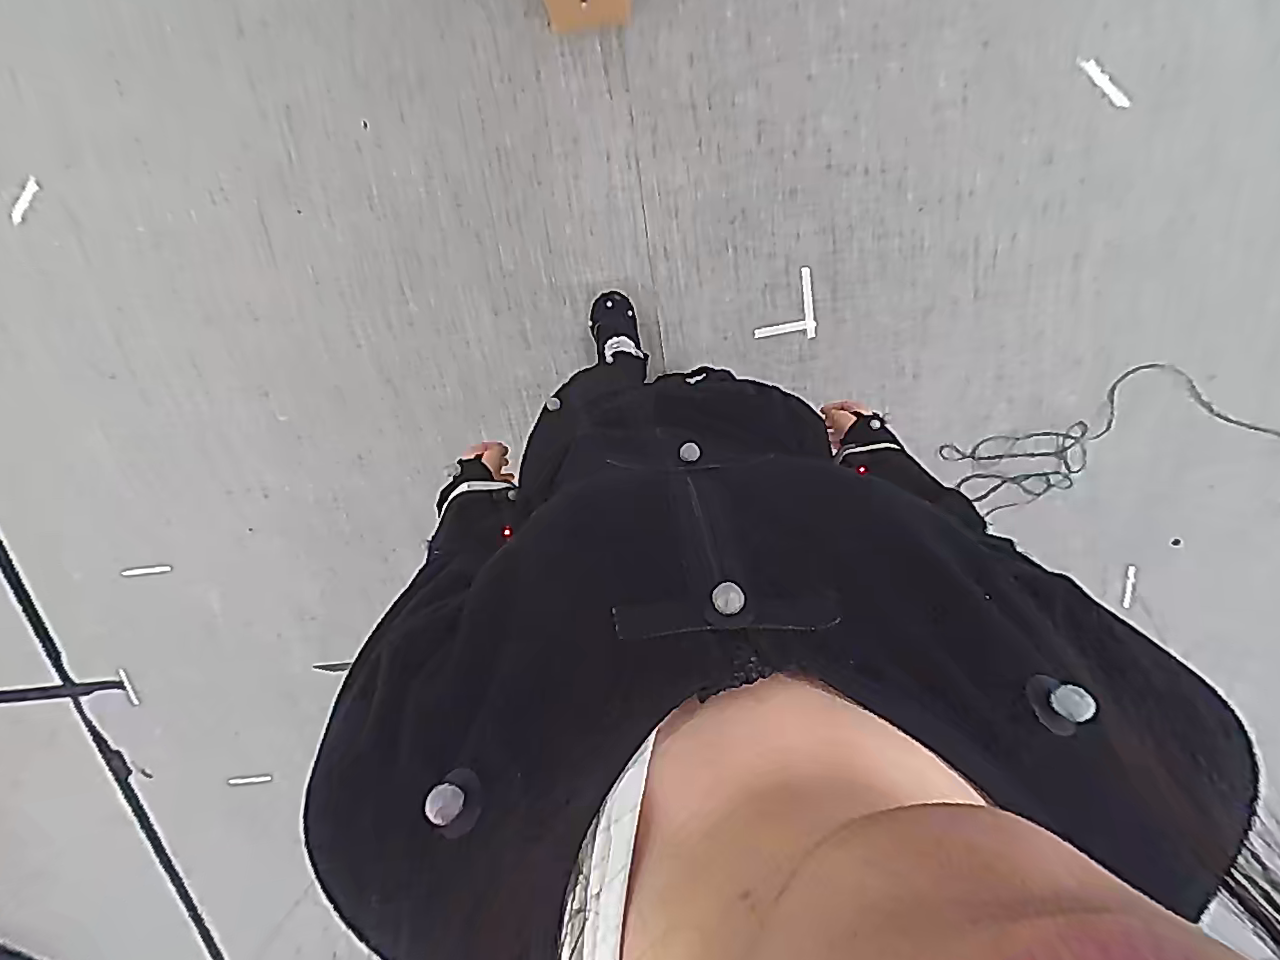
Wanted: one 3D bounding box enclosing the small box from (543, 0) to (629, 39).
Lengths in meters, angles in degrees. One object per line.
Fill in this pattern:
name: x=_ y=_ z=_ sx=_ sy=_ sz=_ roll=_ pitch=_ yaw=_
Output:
small box: x=-0.117 y=-1.065 z=1.126 sx=0.179 sy=0.176 sz=0.168 roll=-7 pitch=107 yaw=4
